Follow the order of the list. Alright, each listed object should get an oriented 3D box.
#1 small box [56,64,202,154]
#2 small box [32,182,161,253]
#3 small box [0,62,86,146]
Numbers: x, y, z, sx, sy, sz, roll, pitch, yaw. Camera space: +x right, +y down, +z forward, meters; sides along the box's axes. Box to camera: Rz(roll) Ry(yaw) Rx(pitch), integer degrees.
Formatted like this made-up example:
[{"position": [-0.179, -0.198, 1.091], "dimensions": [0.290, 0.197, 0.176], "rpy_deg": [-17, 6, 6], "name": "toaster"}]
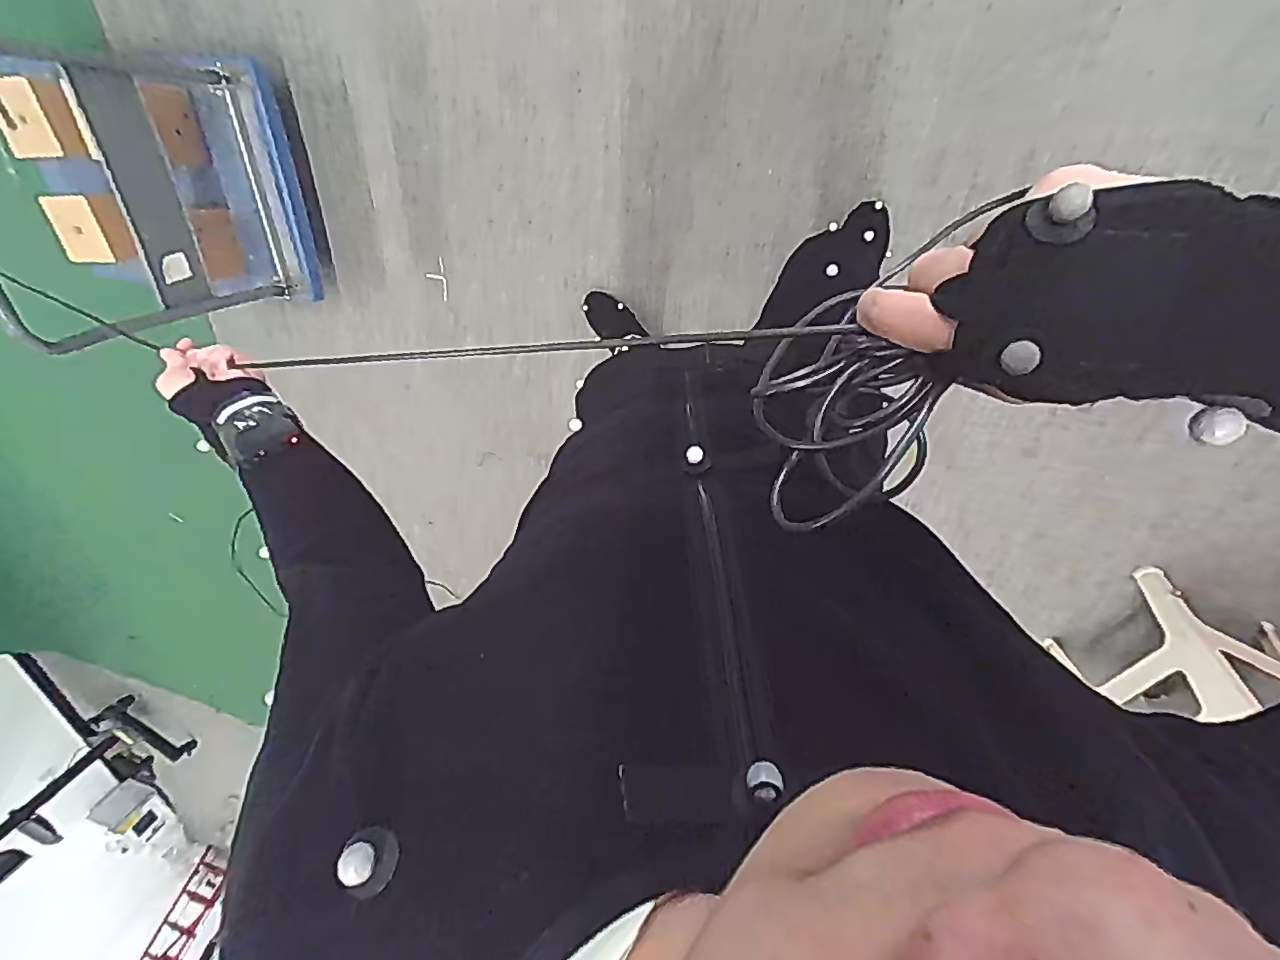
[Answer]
[{"position": [-1.245, -0.907, 1.332], "dimensions": [0.179, 0.176, 0.168], "rpy_deg": [11, 122, 10], "name": "small box"}, {"position": [-1.501, -0.738, 1.514], "dimensions": [0.179, 0.176, 0.168], "rpy_deg": [7, 121, 13], "name": "small box"}, {"position": [-1.506, -0.955, 1.385], "dimensions": [0.179, 0.176, 0.168], "rpy_deg": [7, 122, 13], "name": "small box"}]
